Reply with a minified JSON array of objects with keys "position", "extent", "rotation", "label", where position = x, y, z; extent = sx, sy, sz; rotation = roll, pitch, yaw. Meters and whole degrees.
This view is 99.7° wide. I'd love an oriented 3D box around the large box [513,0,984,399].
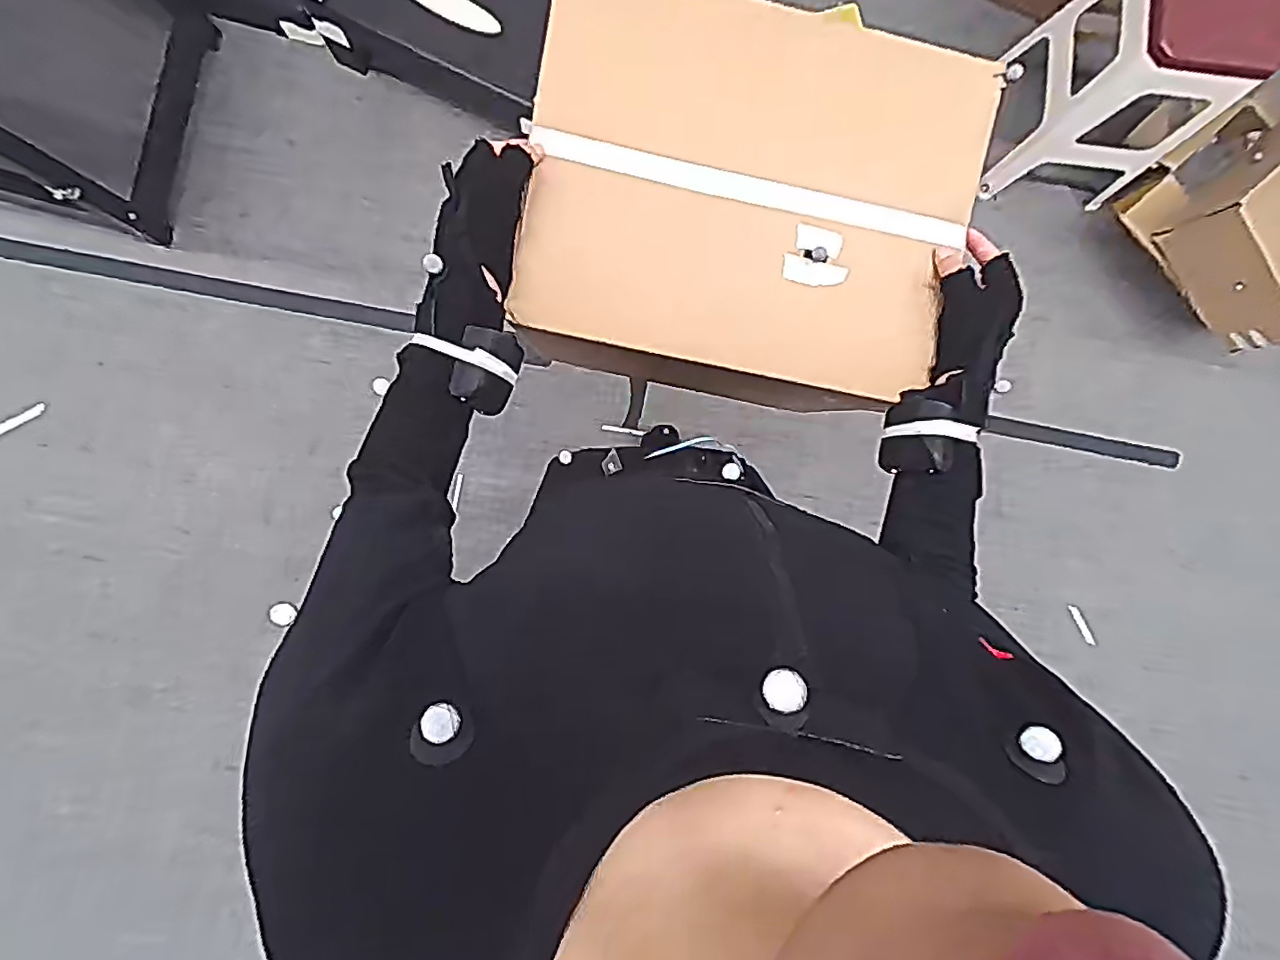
[{"position":[0.089,-0.287,0.648],"extent":[0.408,0.320,0.320],"rotation":[11,97,-6],"label":"large box"}]
